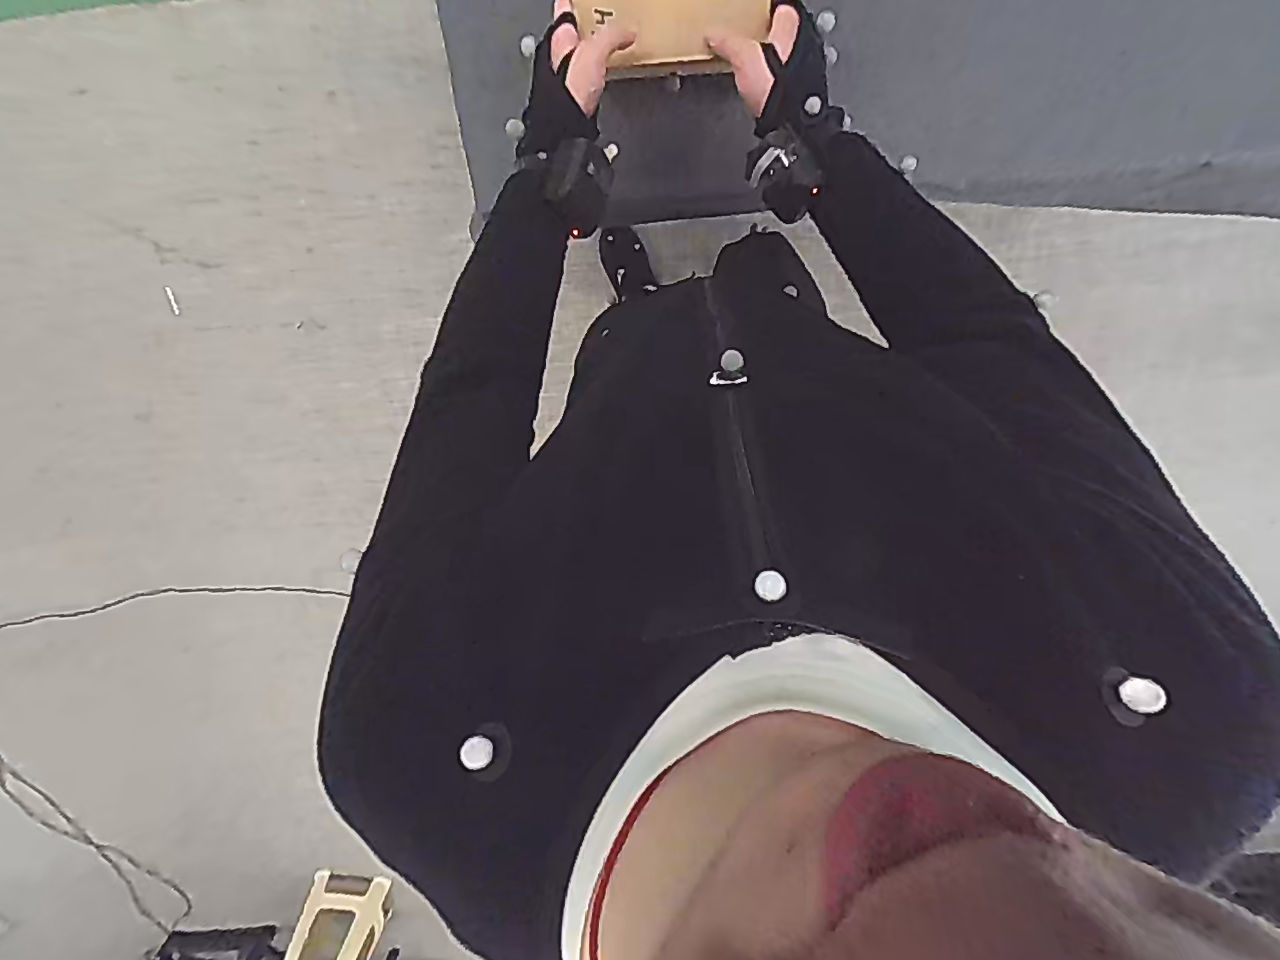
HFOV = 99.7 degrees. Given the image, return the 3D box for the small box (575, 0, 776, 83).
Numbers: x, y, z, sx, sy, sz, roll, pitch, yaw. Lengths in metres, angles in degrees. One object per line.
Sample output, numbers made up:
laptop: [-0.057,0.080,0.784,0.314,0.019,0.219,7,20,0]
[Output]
small box: [0.030,-0.485,0.513,0.179,0.176,0.168,-1,124,3]
